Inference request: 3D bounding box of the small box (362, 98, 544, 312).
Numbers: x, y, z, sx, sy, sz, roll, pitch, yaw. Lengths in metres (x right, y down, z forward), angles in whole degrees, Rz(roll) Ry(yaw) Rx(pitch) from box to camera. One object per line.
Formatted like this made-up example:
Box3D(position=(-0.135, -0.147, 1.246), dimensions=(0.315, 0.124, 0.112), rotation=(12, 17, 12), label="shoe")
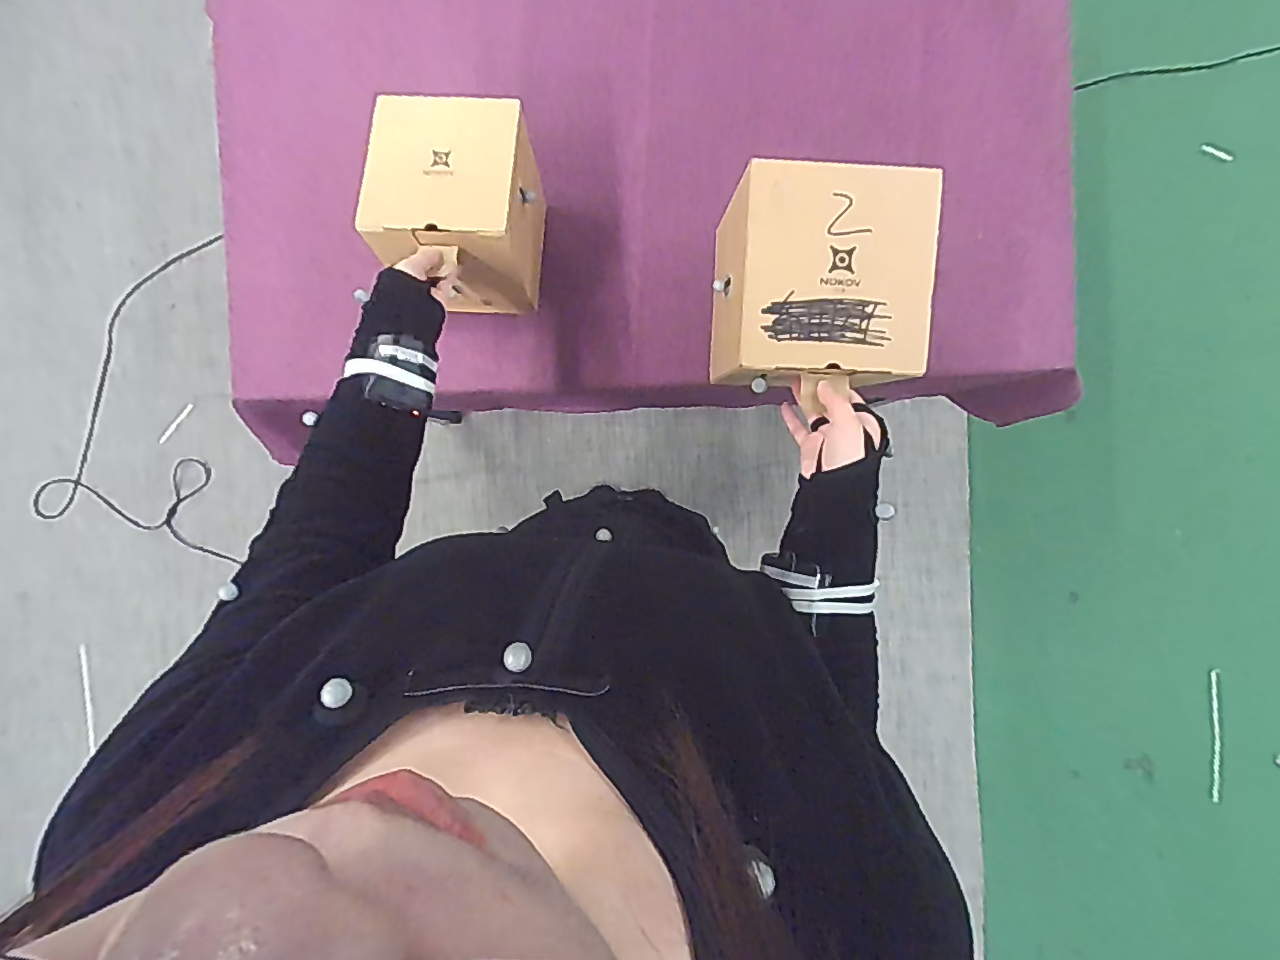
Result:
Box3D(position=(-0.221, -0.339, 0.689), dimensions=(0.168, 0.176, 0.179), rotation=(3, 79, 1), label="small box")
